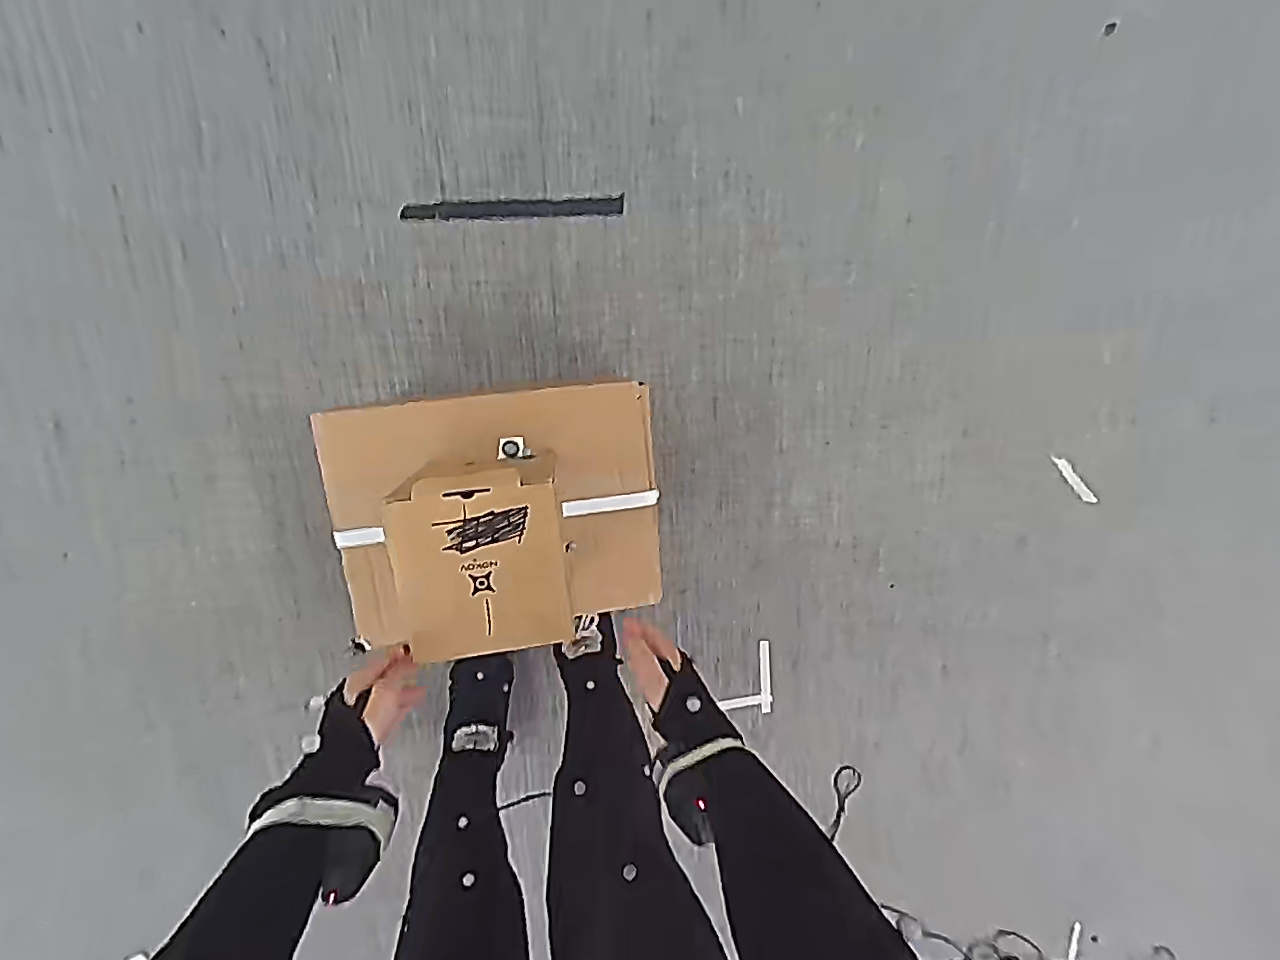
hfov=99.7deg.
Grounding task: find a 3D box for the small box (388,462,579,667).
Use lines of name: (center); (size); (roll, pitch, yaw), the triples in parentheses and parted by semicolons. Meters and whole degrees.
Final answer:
small box: (-0.164, 0.080, 0.615); (0.168, 0.176, 0.179); (-7, 103, -7)
